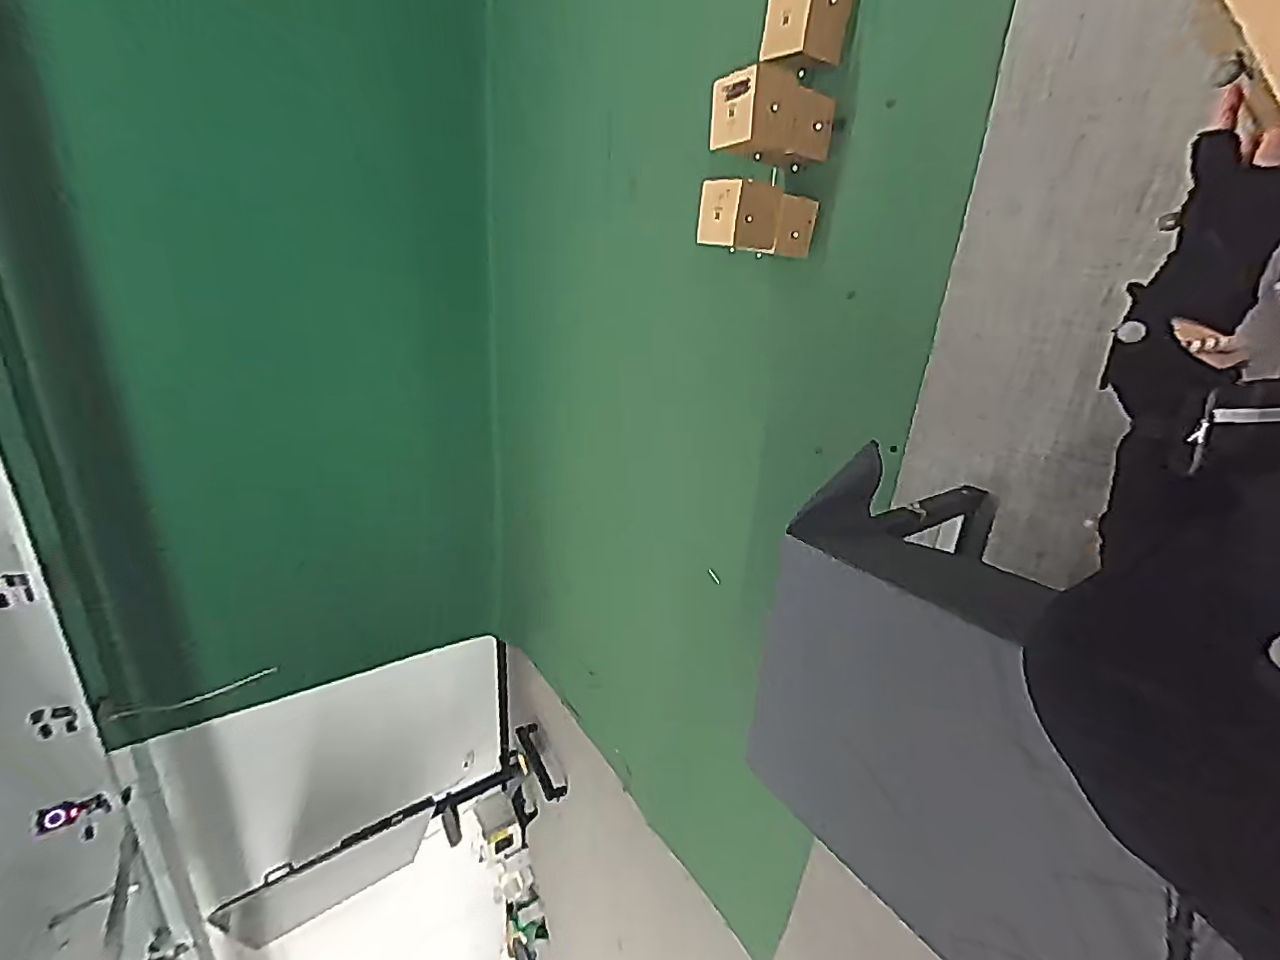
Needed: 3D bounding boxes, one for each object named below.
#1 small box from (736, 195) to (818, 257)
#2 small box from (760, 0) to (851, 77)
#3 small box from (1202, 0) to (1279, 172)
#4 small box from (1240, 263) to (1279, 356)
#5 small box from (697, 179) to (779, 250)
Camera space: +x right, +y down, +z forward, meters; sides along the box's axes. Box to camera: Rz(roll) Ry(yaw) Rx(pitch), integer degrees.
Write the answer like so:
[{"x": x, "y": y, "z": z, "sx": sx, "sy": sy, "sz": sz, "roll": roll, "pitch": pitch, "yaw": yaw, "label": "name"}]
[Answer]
[{"x": 0.438, "y": -0.814, "z": 1.729, "sx": 0.179, "sy": 0.176, "sz": 0.168, "roll": 35, "pitch": 126, "yaw": 46, "label": "small box"}, {"x": 0.476, "y": -1.299, "z": 1.554, "sx": 0.168, "sy": 0.176, "sz": 0.179, "roll": 34, "pitch": 124, "yaw": 47, "label": "small box"}, {"x": 0.435, "y": -0.279, "z": 0.282, "sx": 0.168, "sy": 0.176, "sz": 0.179, "roll": -26, "pitch": 82, "yaw": 49, "label": "small box"}, {"x": 1.147, "y": -0.284, "z": 0.871, "sx": 0.179, "sy": 0.176, "sz": 0.168, "roll": -119, "pitch": 25, "yaw": -50, "label": "small box"}, {"x": 0.299, "y": -0.803, "z": 1.640, "sx": 0.168, "sy": 0.176, "sz": 0.179, "roll": 33, "pitch": 125, "yaw": 47, "label": "small box"}]
